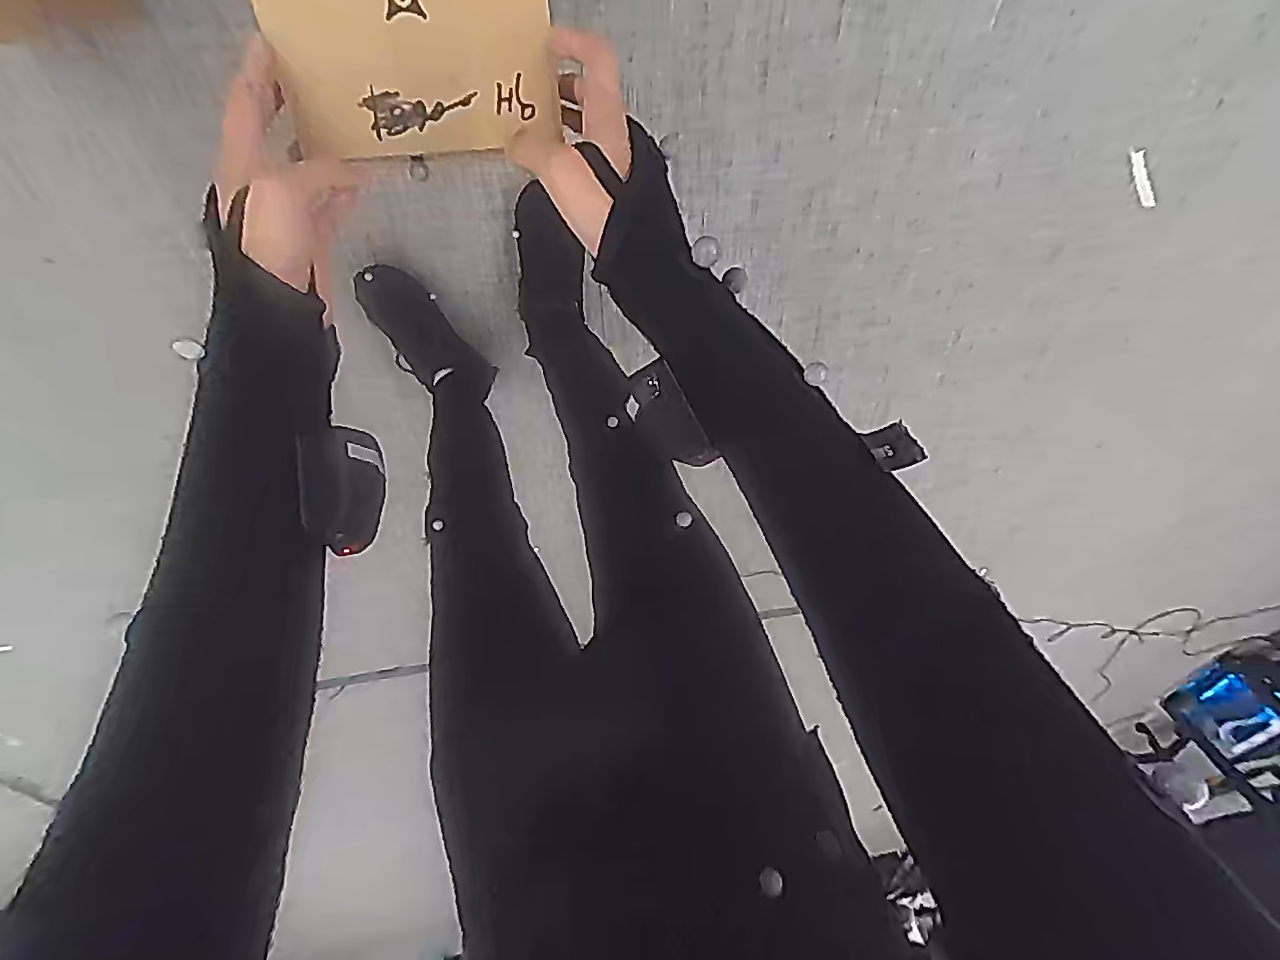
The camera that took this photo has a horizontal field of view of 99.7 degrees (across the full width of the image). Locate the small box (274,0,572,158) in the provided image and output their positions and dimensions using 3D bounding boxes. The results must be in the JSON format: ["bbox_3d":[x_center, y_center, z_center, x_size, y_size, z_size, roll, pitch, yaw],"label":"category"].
[{"bbox_3d":[-0.142,-0.335,0.379,0.168,0.176,0.179,-7,119,-6],"label":"small box"}]
